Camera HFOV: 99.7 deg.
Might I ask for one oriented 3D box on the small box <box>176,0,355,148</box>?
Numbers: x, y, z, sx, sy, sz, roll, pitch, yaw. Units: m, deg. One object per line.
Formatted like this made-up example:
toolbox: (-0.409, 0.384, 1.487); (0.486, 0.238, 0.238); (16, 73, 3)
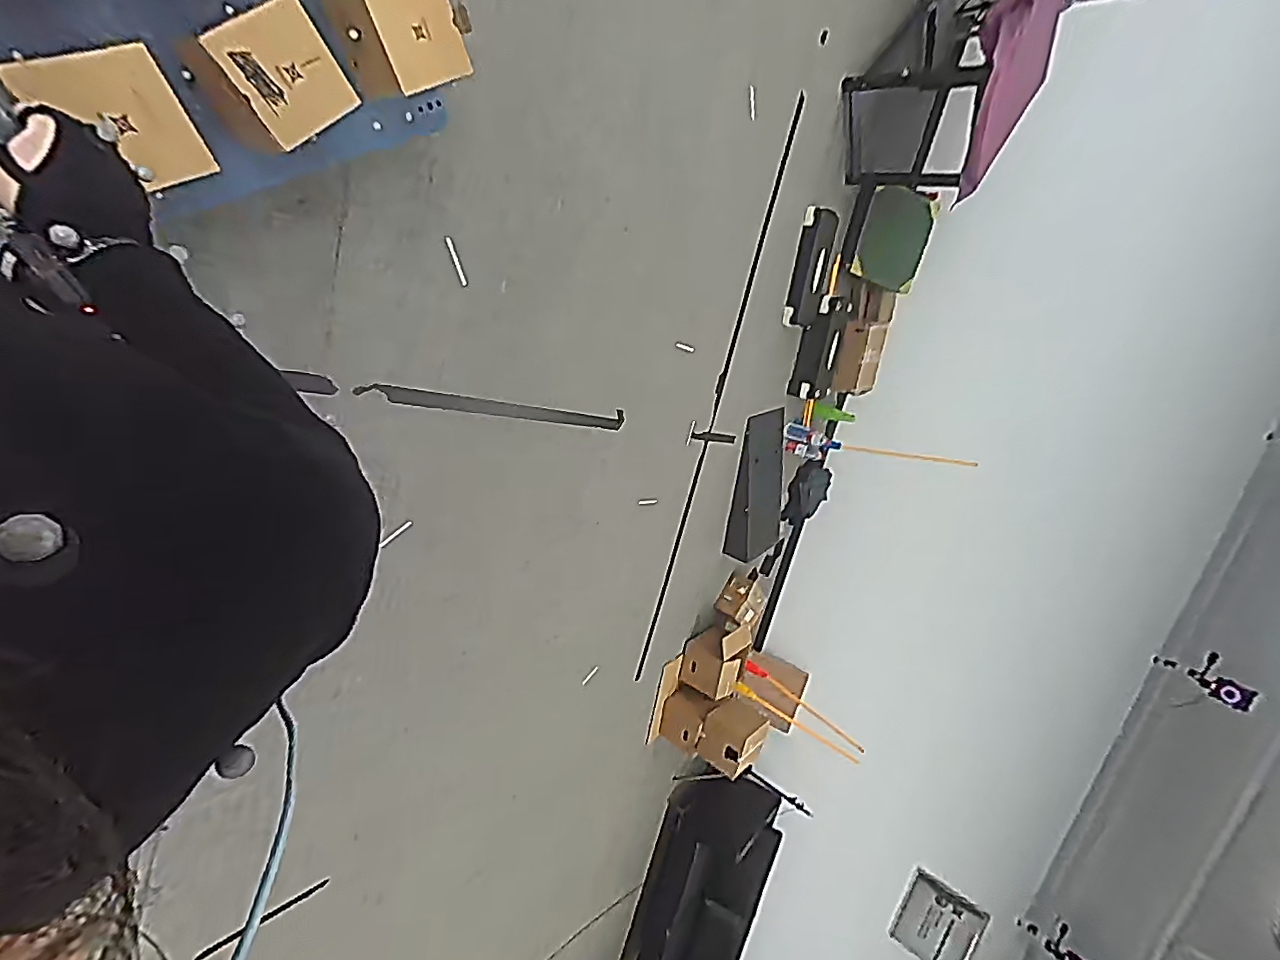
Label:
small box: (-0.648, -0.699, 0.934); (0.179, 0.176, 0.168); (-53, 144, -21)

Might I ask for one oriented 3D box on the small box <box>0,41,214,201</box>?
small box: (-0.806, -0.534, 0.814); (0.179, 0.176, 0.168); (-44, 141, -31)

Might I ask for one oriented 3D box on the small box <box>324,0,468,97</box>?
small box: (-0.483, -0.875, 1.061); (0.179, 0.176, 0.168); (-46, 141, -28)
